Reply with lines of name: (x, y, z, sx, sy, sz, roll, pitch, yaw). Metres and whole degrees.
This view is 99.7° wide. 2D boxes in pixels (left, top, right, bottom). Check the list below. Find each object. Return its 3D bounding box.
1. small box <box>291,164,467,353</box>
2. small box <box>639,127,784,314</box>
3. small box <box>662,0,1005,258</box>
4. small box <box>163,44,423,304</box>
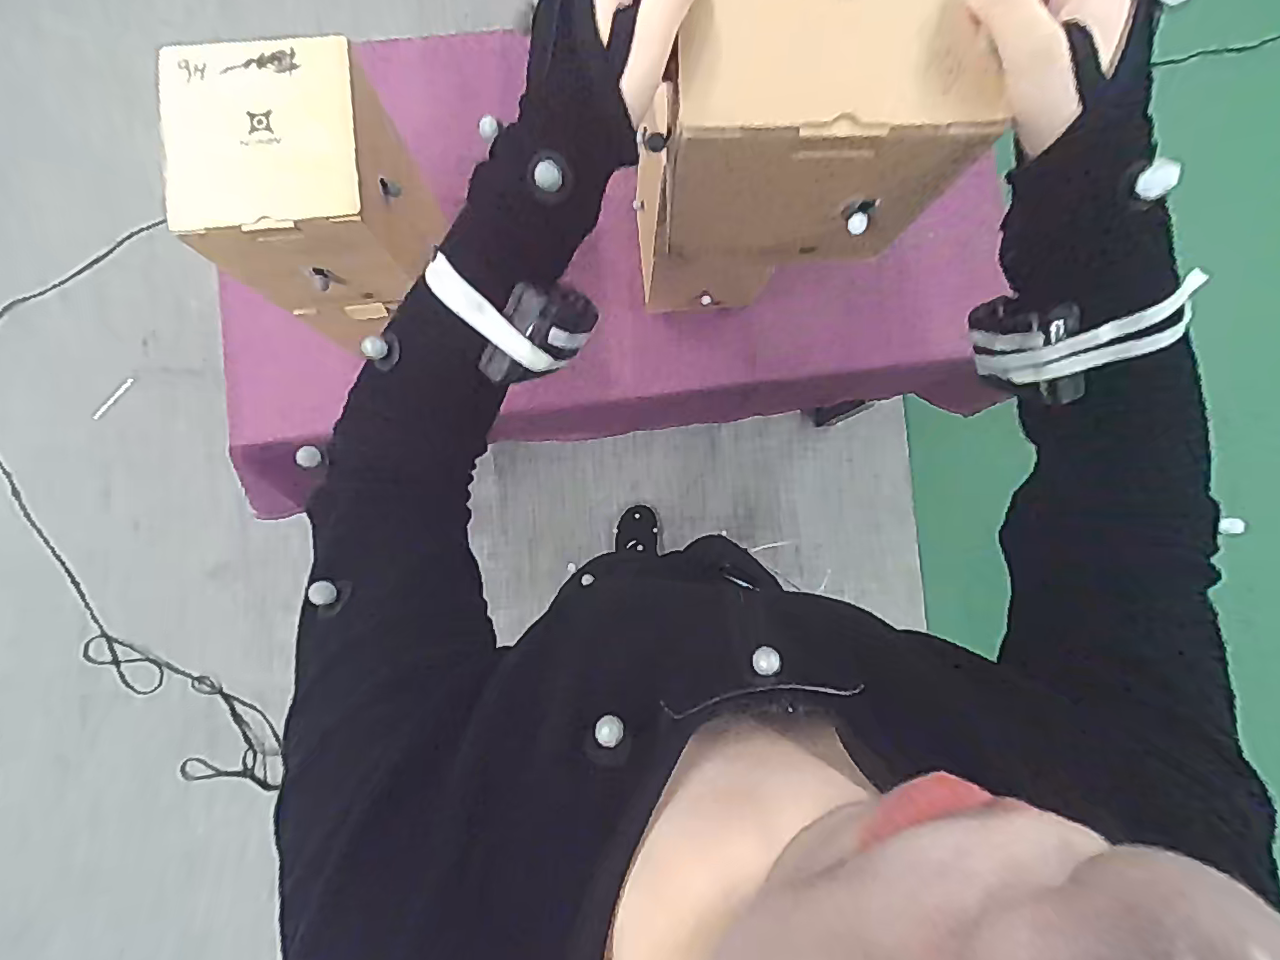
small box: (-0.340, -0.280, 0.722, 0.168, 0.176, 0.179, -8, 85, -3)
small box: (0.088, -0.349, 0.745, 0.168, 0.176, 0.179, -5, 85, -2)
small box: (0.099, -0.257, 0.347, 0.168, 0.176, 0.179, 0, 90, 1)
small box: (-0.337, -0.294, 0.558, 0.168, 0.176, 0.179, -6, 86, -4)
